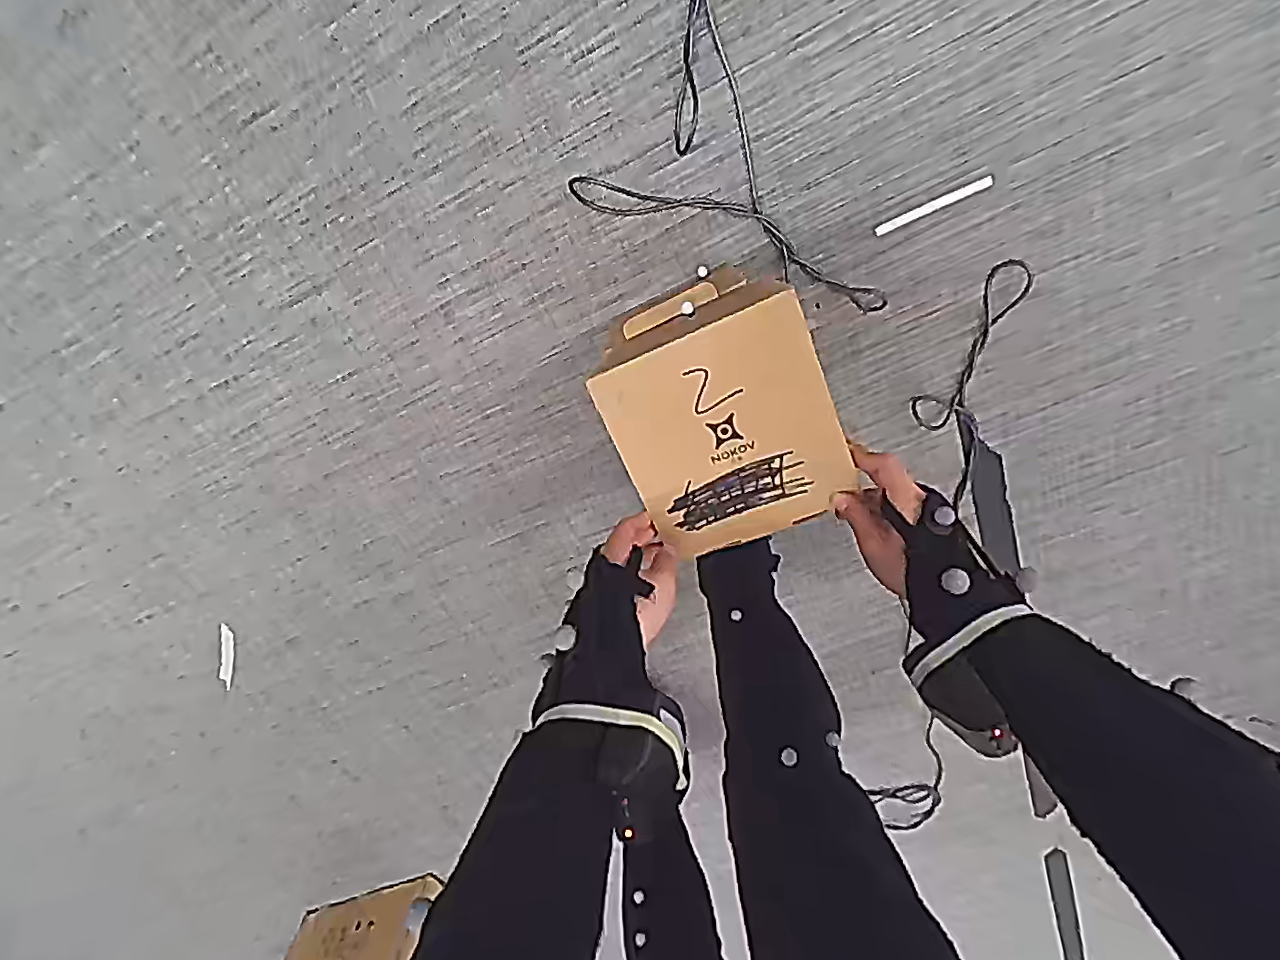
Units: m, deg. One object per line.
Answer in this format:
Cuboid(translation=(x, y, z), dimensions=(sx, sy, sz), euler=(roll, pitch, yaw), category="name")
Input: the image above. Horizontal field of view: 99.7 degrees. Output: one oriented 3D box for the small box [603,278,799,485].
Cuboid(translation=(0.069, -0.128, 0.654), dimensions=(0.168, 0.176, 0.179), euler=(-23, 115, 12), category="small box")
